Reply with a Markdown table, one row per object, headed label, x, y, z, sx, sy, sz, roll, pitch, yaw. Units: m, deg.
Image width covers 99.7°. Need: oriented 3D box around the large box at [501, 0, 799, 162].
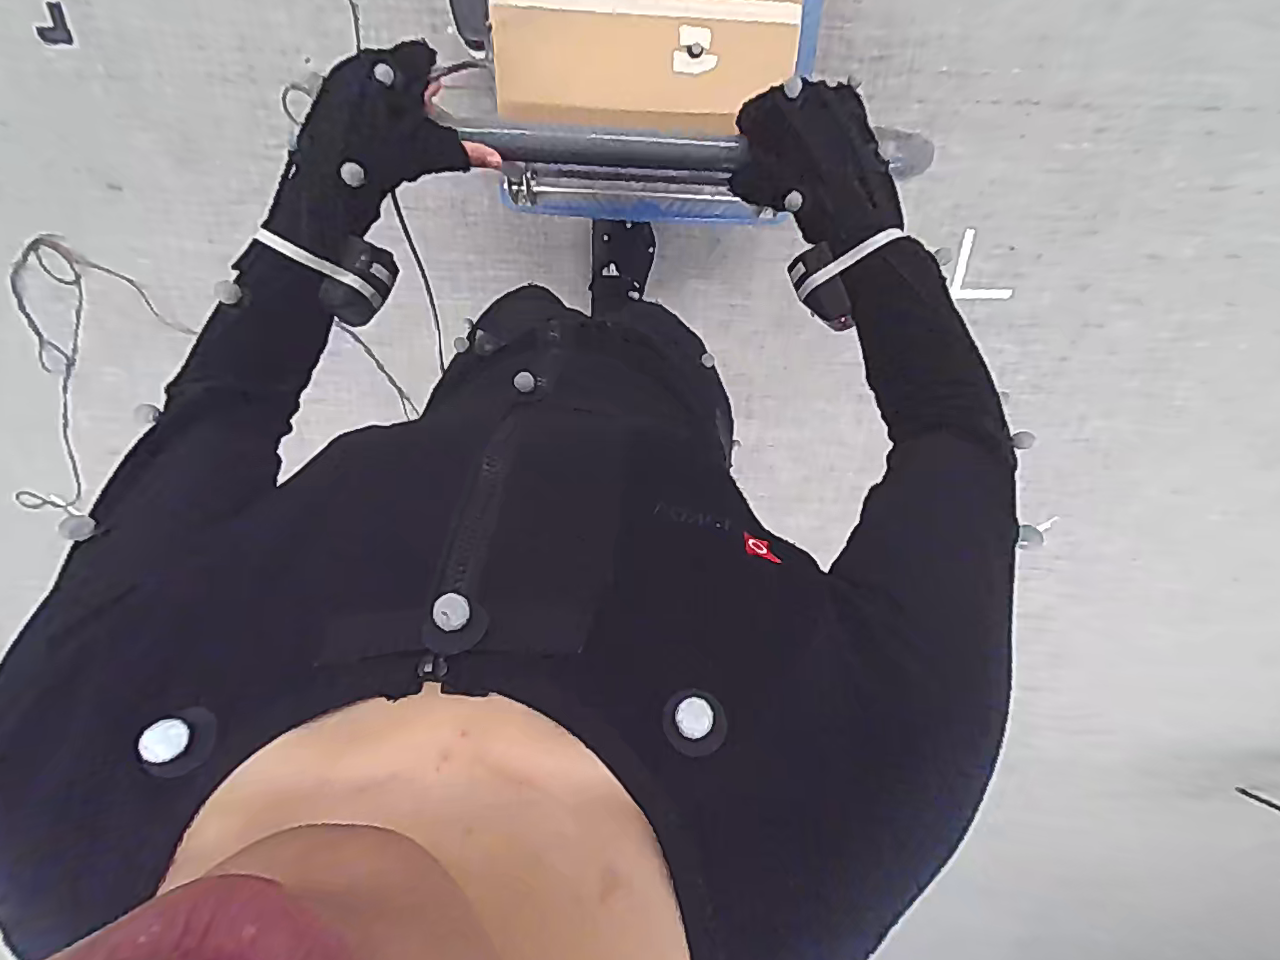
| label | x | y | z | sx | sy | sz | roll | pitch | yaw |
| --- | --- | --- | --- | --- | --- | --- | --- | --- | --- |
| large box | 0.009 | -0.696 | 0.850 | 0.408 | 0.320 | 0.320 | 2 | 118 | -2 |
